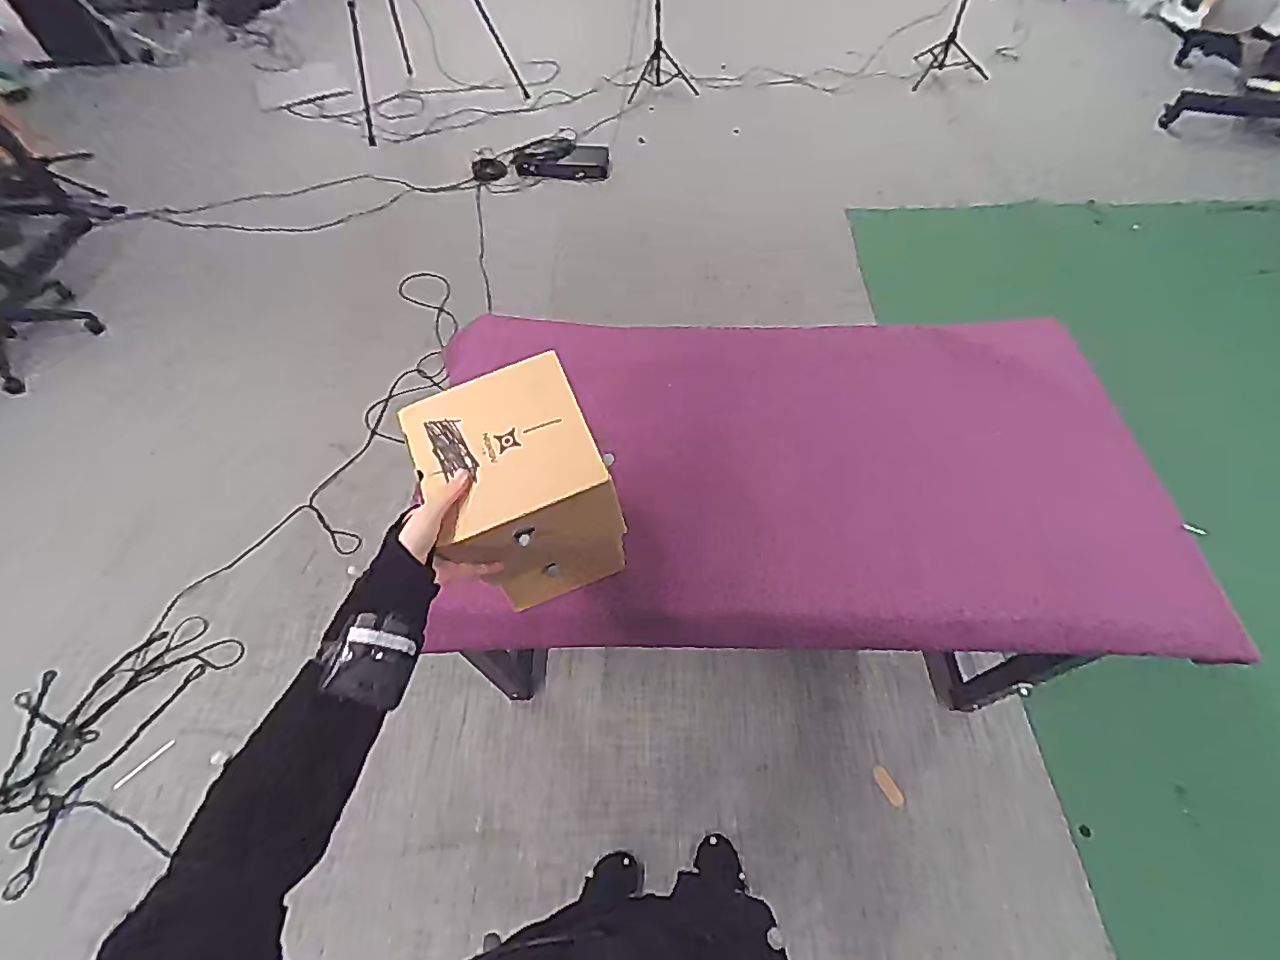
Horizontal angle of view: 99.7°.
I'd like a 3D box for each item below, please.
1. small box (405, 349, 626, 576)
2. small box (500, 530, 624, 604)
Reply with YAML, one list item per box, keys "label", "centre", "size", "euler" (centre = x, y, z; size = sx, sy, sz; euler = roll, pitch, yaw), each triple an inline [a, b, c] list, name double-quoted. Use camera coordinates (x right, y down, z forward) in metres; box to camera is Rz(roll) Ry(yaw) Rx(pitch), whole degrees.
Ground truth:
- label: "small box"
  centre: [-0.127, -0.008, 0.603]
  size: [0.179, 0.176, 0.168]
  euler: [-21, 68, -5]
- label: "small box"
  centre: [-0.134, 0.054, 0.778]
  size: [0.179, 0.176, 0.168]
  euler: [-21, 58, -11]
